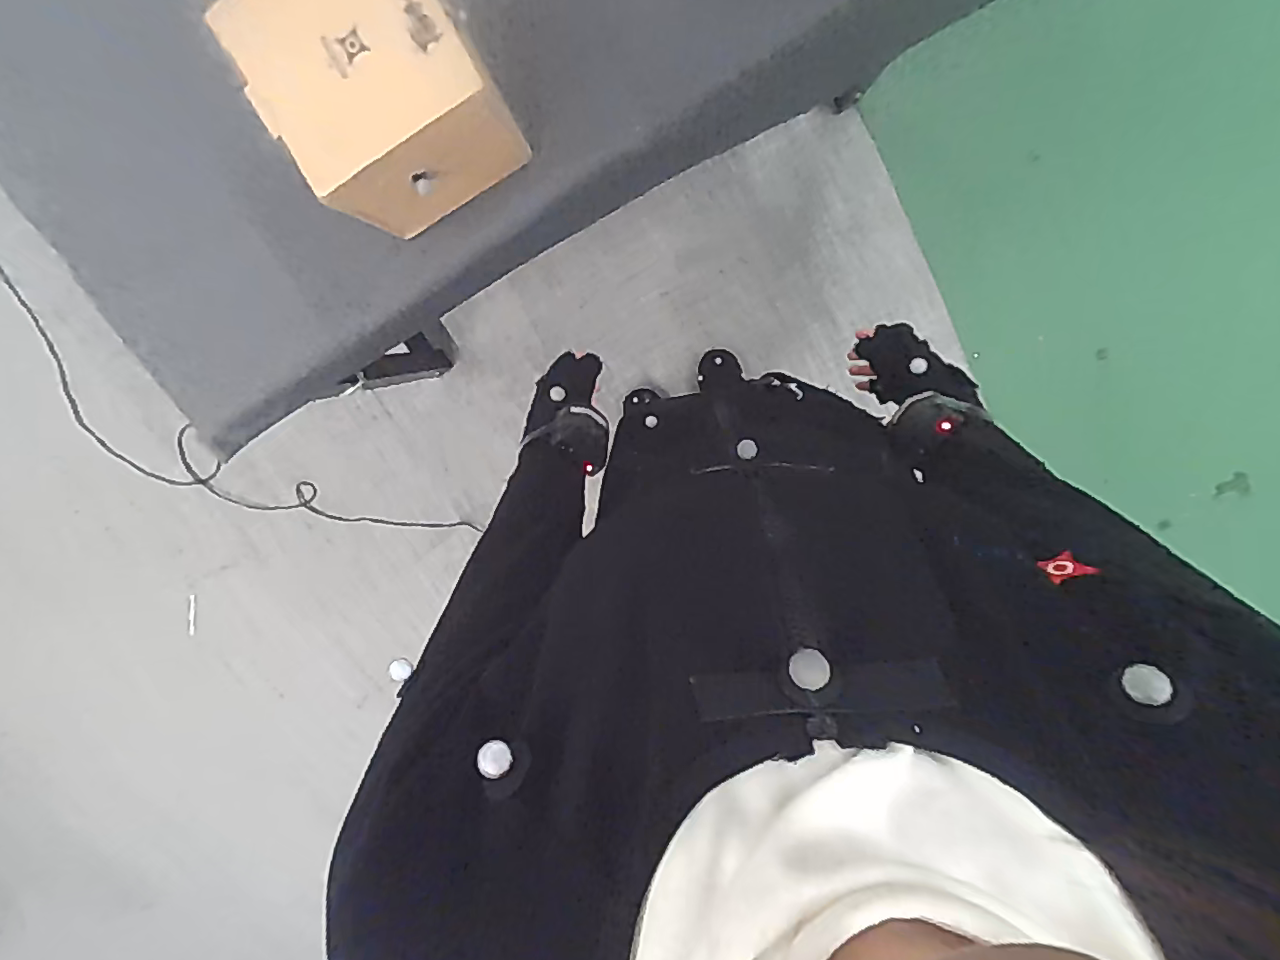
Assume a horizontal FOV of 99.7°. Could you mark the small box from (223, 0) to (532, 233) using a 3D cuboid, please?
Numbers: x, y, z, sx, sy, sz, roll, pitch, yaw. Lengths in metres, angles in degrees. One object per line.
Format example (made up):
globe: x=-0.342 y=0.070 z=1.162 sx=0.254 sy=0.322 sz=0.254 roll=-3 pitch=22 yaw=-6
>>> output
small box: x=-0.233 y=-0.373 z=0.530 sx=0.179 sy=0.176 sz=0.168 roll=-28 pitch=100 yaw=9
